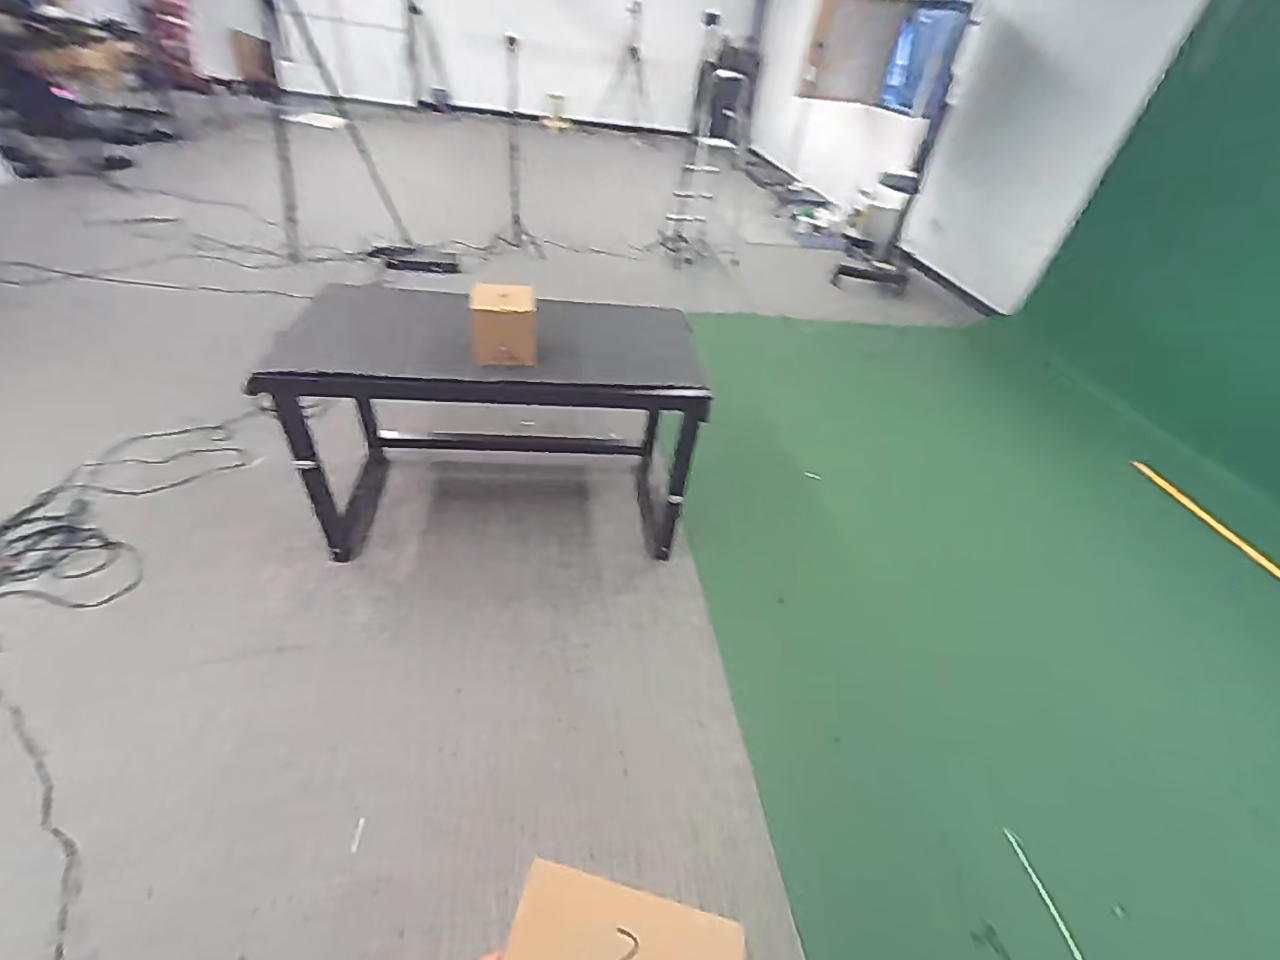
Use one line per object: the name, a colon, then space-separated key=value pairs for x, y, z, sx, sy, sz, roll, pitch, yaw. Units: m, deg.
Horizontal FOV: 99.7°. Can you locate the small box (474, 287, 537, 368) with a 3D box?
small box: x=-0.382 y=-0.437 z=1.554 sx=0.168 sy=0.176 sz=0.179 roll=-2 pitch=40 yaw=-12
